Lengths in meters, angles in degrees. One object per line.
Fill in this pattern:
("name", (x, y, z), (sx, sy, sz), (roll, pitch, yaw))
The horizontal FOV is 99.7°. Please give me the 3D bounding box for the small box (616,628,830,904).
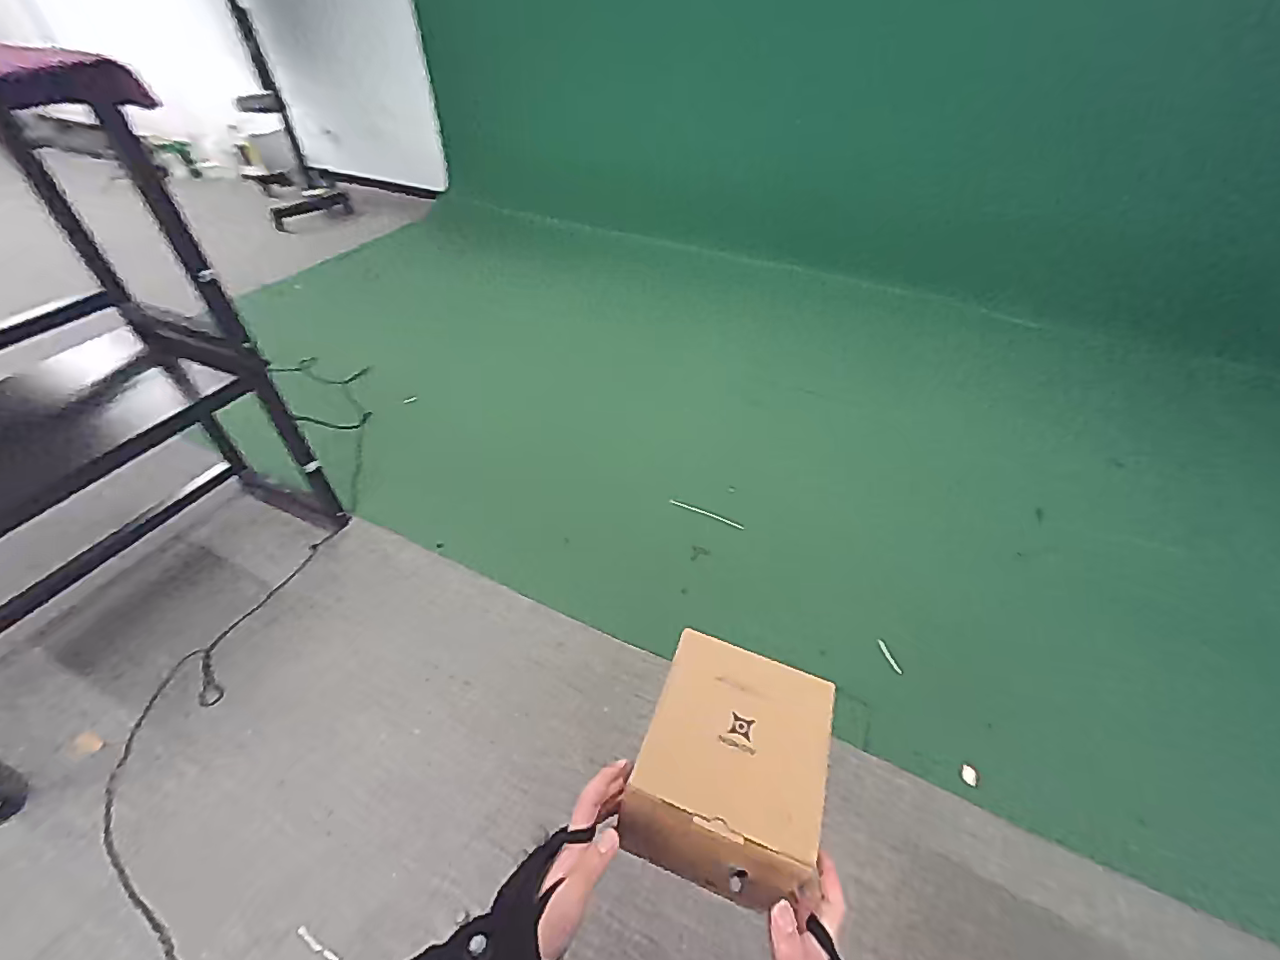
("small box", (0.081, 0.295, 0.561), (0.168, 0.176, 0.179), (19, 42, 11))
